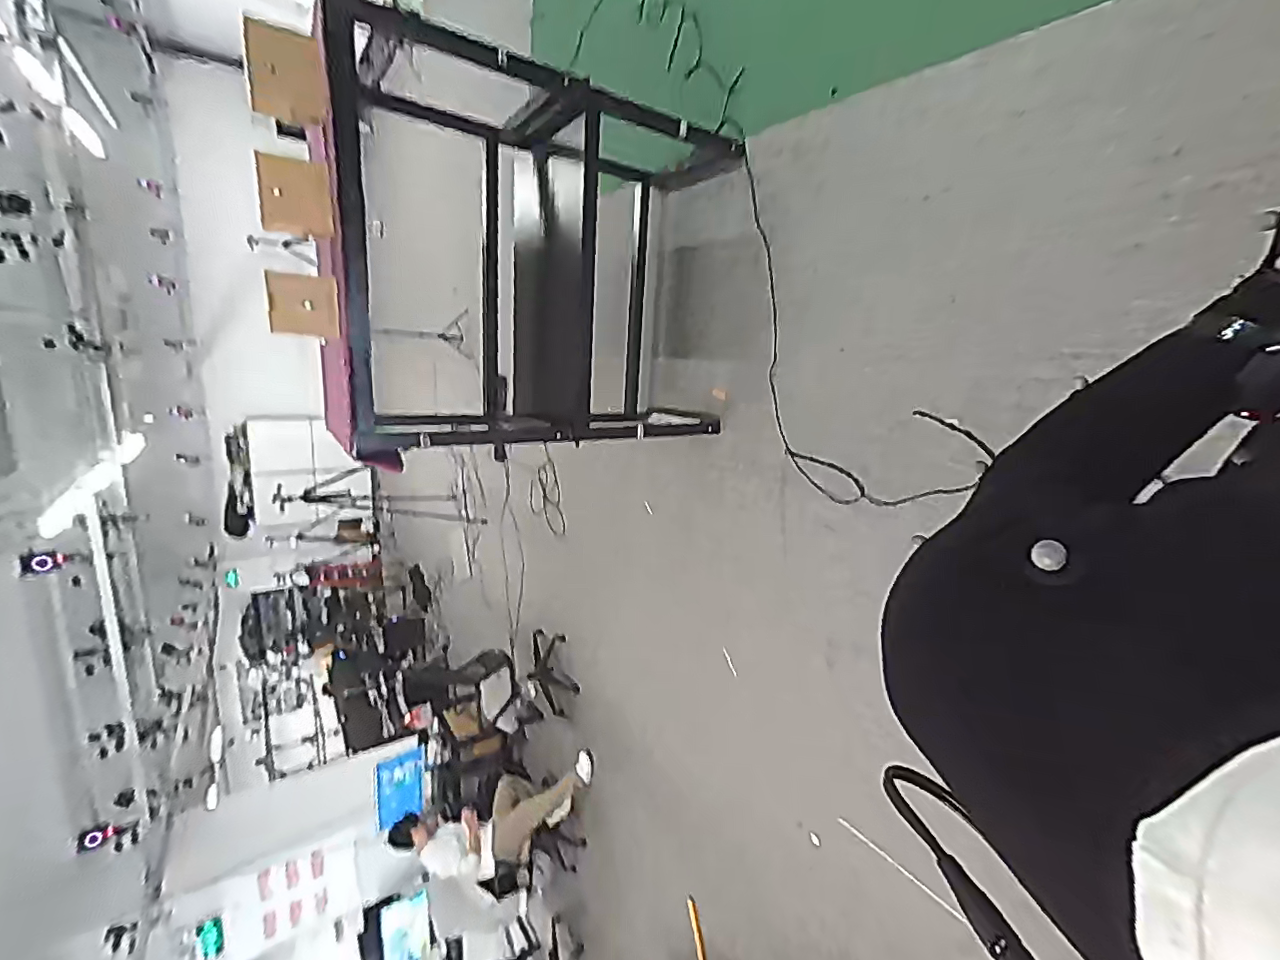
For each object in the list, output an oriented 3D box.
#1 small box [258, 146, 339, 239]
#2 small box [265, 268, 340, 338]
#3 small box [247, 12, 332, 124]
[{"bbox_3d":[-0.926,-0.770,1.466,0.168,0.176,0.179,22,113,54],"label":"small box"},{"bbox_3d":[-0.948,-0.495,1.524,0.179,0.176,0.168,20,110,53],"label":"small box"},{"bbox_3d":[-0.904,-1.049,1.398,0.168,0.176,0.179,26,115,50],"label":"small box"}]
